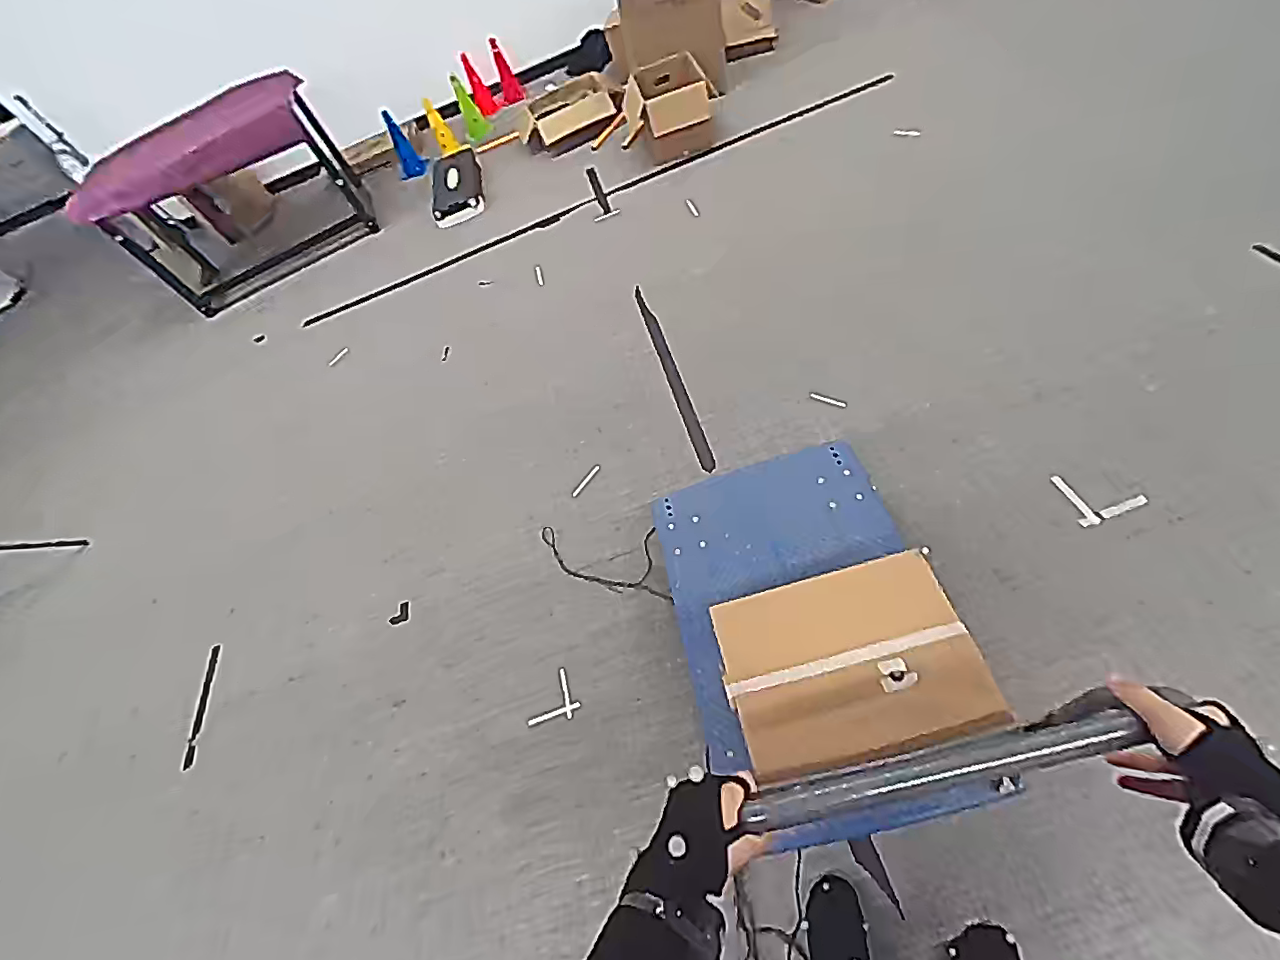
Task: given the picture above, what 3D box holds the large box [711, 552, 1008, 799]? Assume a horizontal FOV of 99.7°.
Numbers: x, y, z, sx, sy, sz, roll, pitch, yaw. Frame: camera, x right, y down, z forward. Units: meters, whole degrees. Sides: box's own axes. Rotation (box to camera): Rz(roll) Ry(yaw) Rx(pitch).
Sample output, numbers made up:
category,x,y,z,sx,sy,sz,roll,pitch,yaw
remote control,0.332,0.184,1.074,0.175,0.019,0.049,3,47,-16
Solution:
category,x,y,z,sx,sy,sz,roll,pitch,yaw
large box,0.388,0.394,1.053,0.408,0.320,0.320,-17,55,5
